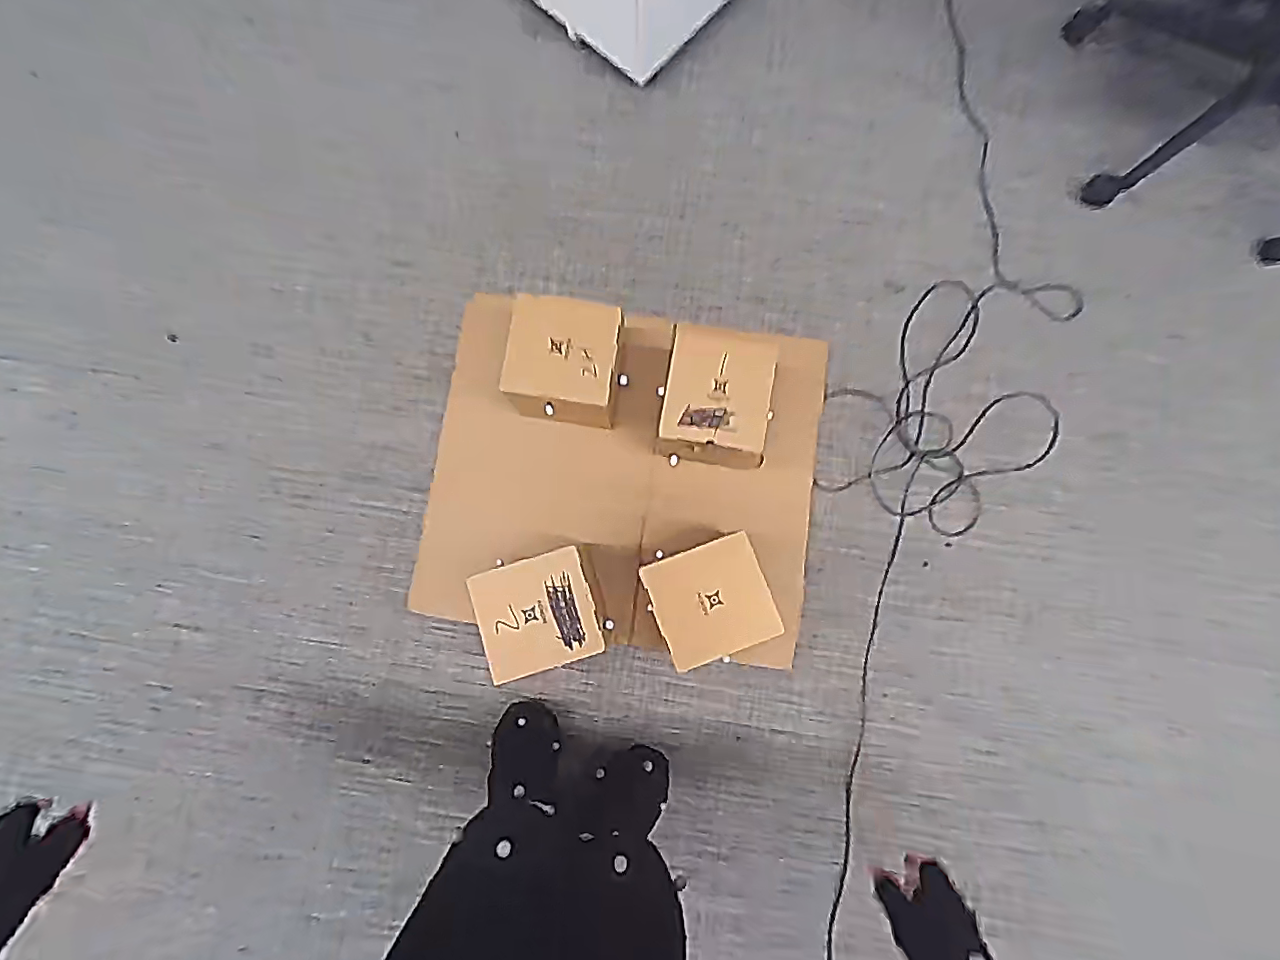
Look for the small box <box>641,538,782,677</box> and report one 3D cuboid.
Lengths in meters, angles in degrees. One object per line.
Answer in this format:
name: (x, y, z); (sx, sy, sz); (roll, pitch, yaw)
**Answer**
small box: (0.109, 0.201, 0.900); (0.179, 0.176, 0.168); (-21, 82, -1)
